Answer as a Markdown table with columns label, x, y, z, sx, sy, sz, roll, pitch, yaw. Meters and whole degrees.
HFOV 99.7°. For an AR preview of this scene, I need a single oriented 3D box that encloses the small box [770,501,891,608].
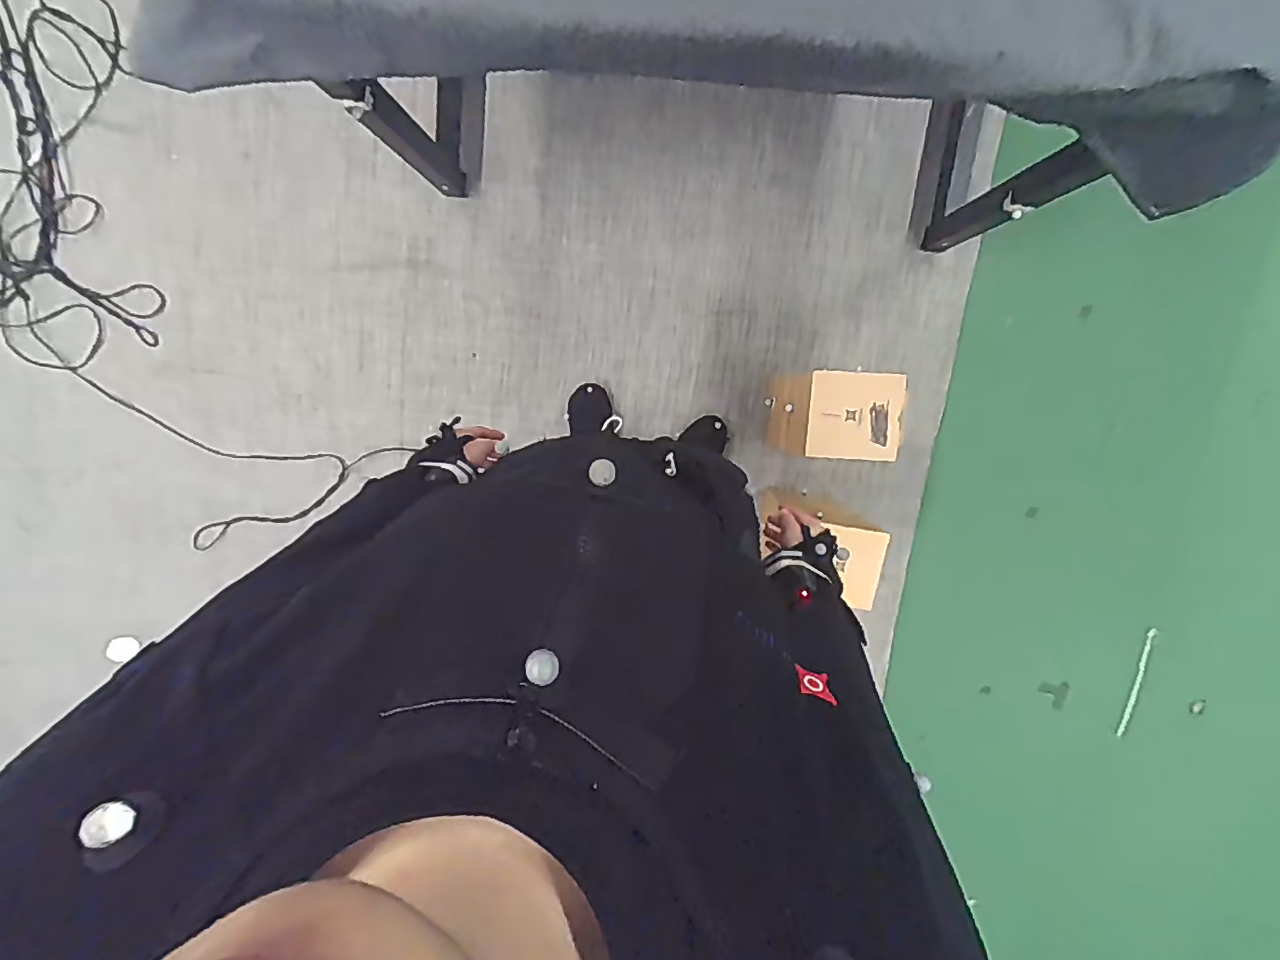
| label | x | y | z | sx | sy | sz | roll | pitch | yaw |
| --- | --- | --- | --- | --- | --- | --- | --- | --- | --- |
| small box | 0.391 | 0.150 | 1.139 | 0.179 | 0.176 | 0.168 | 9 | 101 | 0 |

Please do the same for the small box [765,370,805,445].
| label | x | y | z | sx | sy | sz | roll | pitch | yaw |
| --- | --- | --- | --- | --- | --- | --- | --- | --- | --- |
| small box | 0.400 | -0.166 | 1.247 | 0.179 | 0.176 | 0.168 | 4 | 100 | 1 |

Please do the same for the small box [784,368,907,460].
| label | x | y | z | sx | sy | sz | roll | pitch | yaw |
| --- | --- | --- | --- | --- | --- | --- | --- | --- | --- |
| small box | 0.403 | -0.136 | 1.086 | 0.179 | 0.176 | 0.168 | 3 | 100 | 2 |

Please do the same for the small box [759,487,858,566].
| label | x | y | z | sx | sy | sz | roll | pitch | yaw |
| --- | --- | --- | --- | --- | --- | --- | --- | --- | --- |
| small box | 0.394 | 0.117 | 1.299 | 0.179 | 0.176 | 0.168 | 8 | 101 | 2 |
